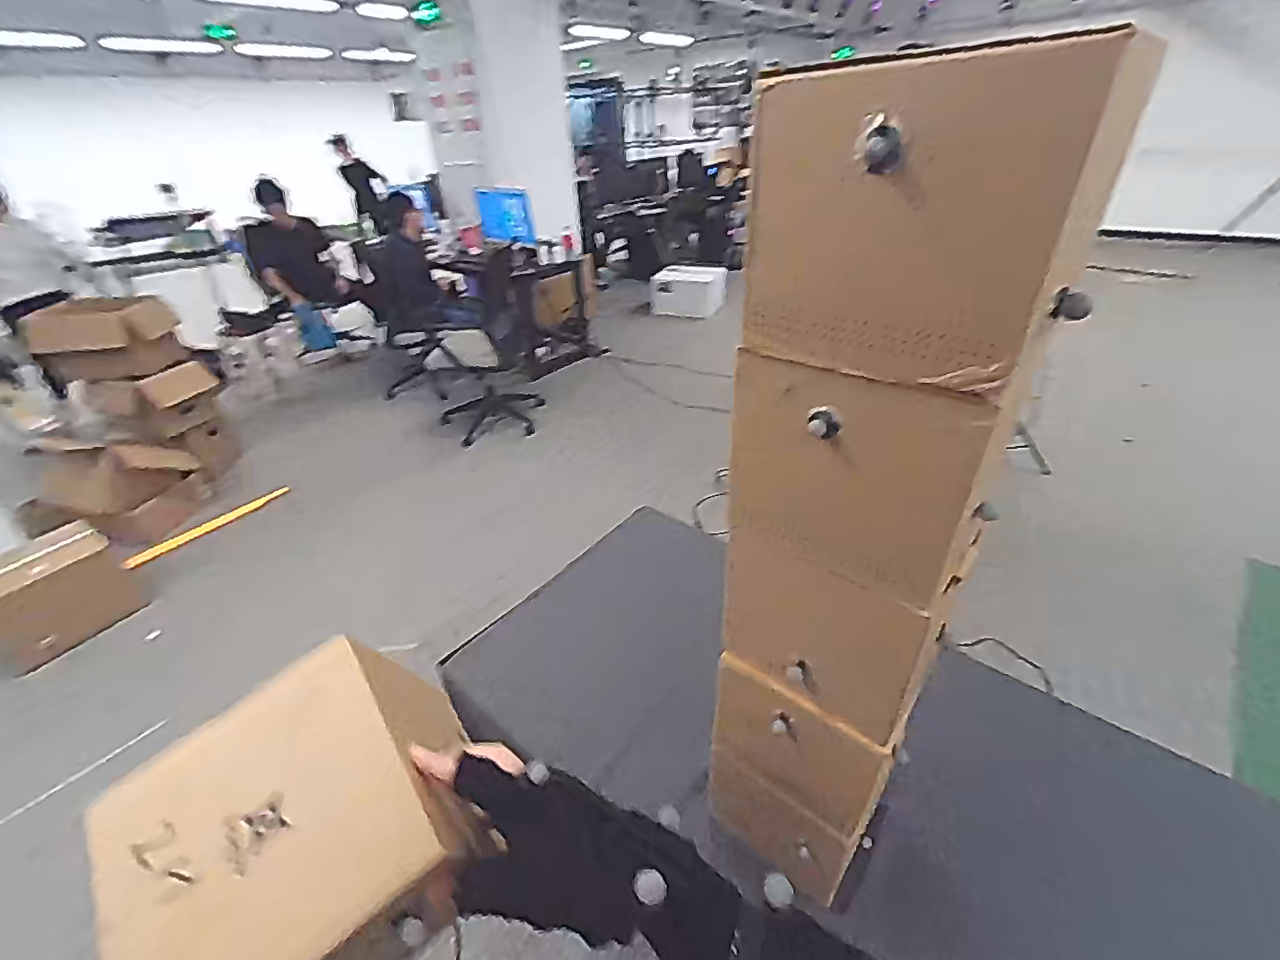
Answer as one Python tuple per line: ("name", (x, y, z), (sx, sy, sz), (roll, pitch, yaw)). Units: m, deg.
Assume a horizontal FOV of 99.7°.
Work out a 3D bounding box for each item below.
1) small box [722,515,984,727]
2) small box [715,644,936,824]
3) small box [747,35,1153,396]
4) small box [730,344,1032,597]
("small box", (0.198, 0.108, 0.534), (0.179, 0.176, 0.168), (25, 41, 35))
("small box", (0.202, 0.249, 0.618), (0.179, 0.176, 0.168), (23, 40, 34))
("small box", (0.185, -0.170, 0.360), (0.179, 0.176, 0.168), (24, 43, 36))
("small box", (0.189, -0.034, 0.451), (0.179, 0.176, 0.168), (24, 41, 34))
